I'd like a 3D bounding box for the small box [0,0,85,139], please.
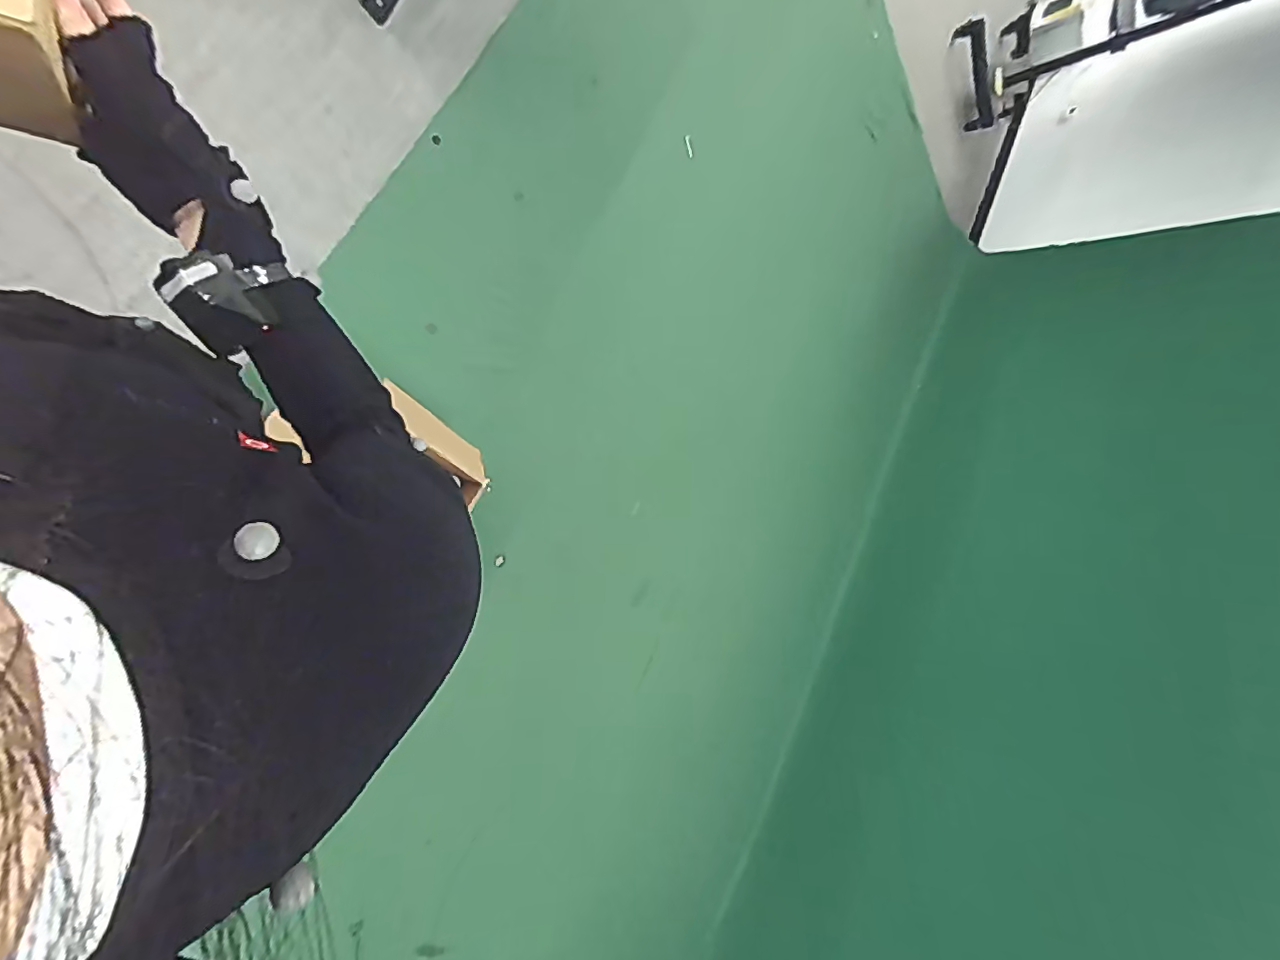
[{"bbox_3d":[-0.429,-0.329,0.291,0.168,0.176,0.179,-1,99,-40],"label":"small box"}]
